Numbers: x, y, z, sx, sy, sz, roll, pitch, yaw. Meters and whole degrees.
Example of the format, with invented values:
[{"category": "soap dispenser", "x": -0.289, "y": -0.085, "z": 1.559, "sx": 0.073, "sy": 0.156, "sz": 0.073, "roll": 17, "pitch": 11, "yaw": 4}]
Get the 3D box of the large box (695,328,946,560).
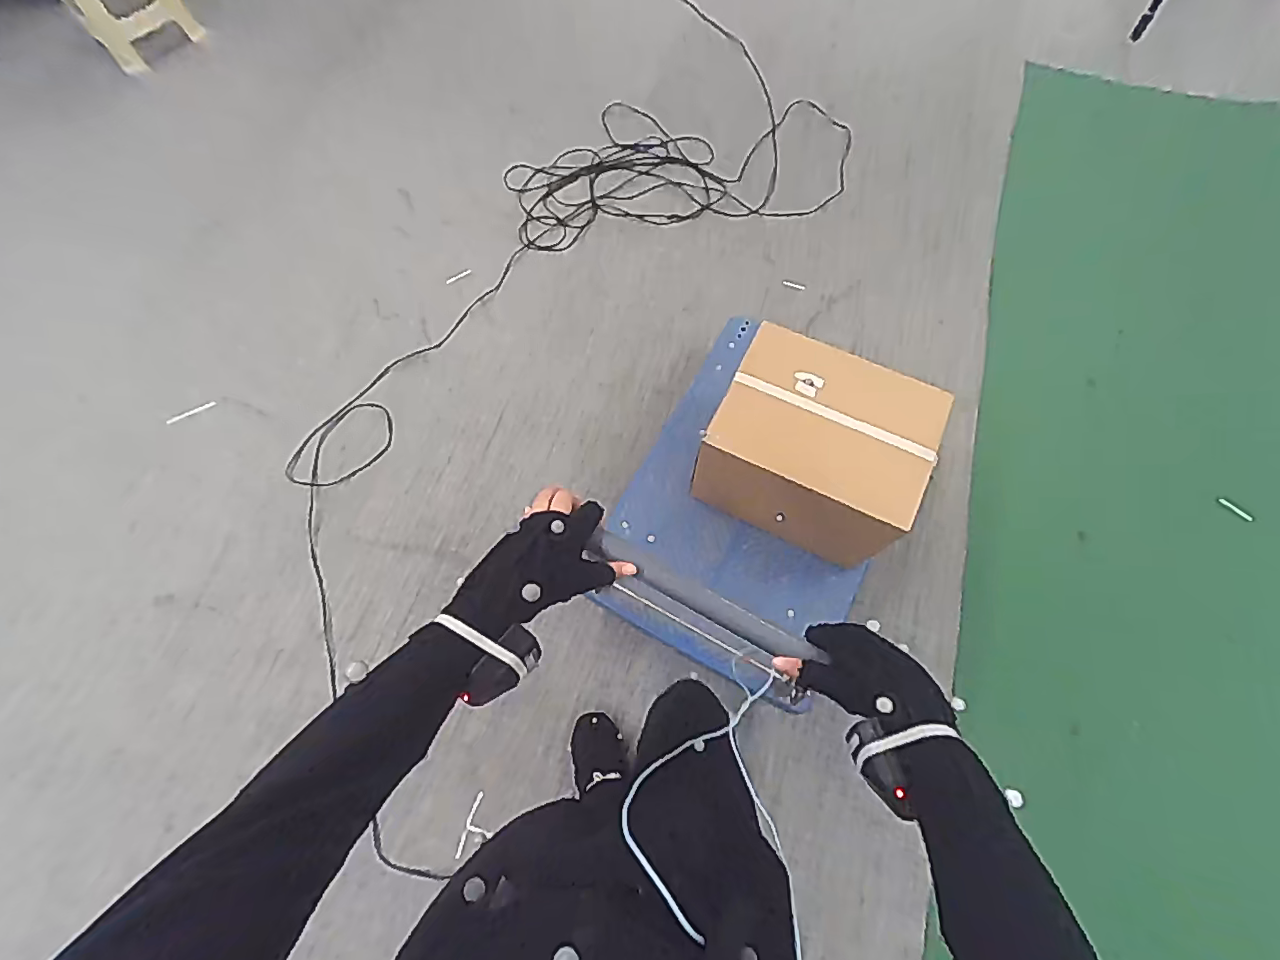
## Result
[{"category": "large box", "x": 0.369, "y": -0.064, "z": 1.189, "sx": 0.408, "sy": 0.320, "sz": 0.320, "roll": 24, "pitch": 71, "yaw": 11}]
